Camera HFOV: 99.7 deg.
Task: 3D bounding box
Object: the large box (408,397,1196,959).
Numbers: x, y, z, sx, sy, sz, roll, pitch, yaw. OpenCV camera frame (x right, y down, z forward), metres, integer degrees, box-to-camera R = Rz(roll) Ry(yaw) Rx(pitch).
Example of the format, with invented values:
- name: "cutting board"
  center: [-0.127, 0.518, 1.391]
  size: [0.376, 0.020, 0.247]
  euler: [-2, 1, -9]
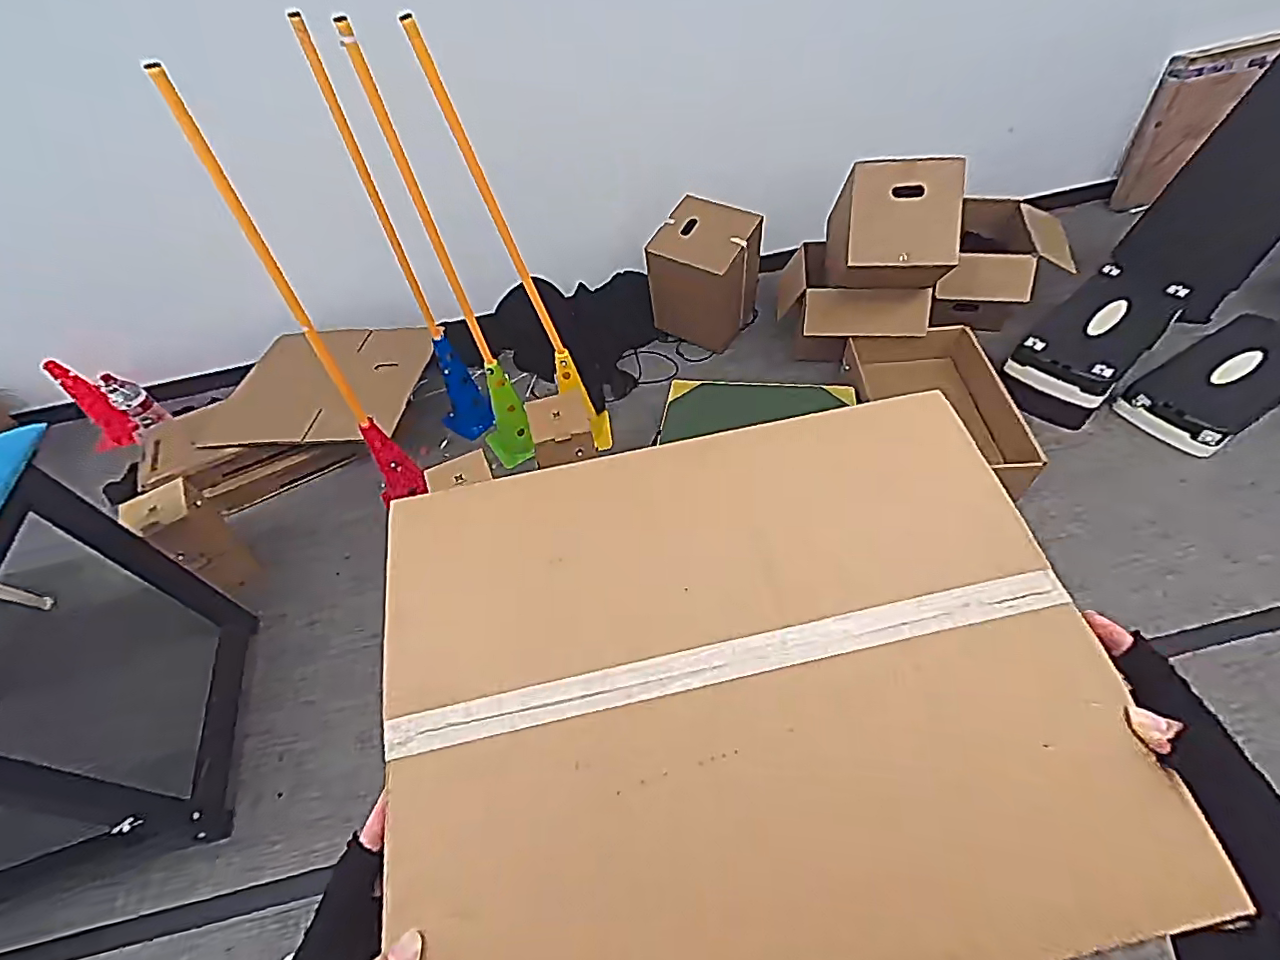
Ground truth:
- name: "large box"
  center: [0.064, 0.179, 0.461]
  size: [0.408, 0.320, 0.320]
  euler: [-12, 62, -3]
